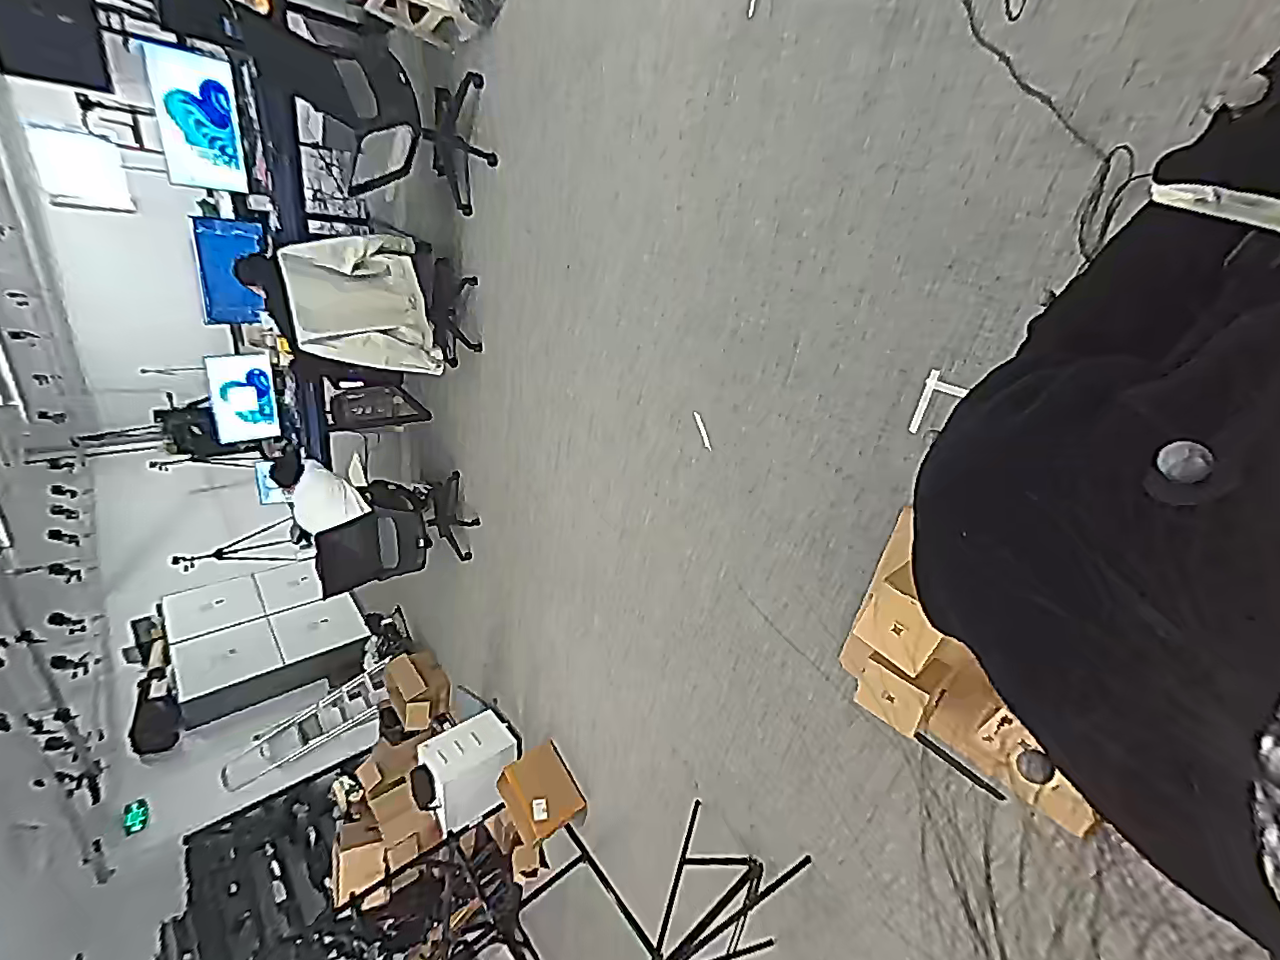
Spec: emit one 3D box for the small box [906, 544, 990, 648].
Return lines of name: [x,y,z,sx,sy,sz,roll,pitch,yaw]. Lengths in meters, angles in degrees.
small box: [0.776,0.296,1.410,0.168,0.176,0.179,34,124,37]

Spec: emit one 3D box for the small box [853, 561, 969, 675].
small box: [0.656,0.326,1.305,0.168,0.176,0.179,37,126,36]

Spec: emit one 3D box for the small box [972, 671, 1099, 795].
small box: [0.951,0.598,1.298,0.179,0.176,0.168,41,129,31]

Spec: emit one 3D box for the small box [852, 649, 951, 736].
small box: [0.743,0.576,1.535,0.179,0.176,0.168,29,123,41]
